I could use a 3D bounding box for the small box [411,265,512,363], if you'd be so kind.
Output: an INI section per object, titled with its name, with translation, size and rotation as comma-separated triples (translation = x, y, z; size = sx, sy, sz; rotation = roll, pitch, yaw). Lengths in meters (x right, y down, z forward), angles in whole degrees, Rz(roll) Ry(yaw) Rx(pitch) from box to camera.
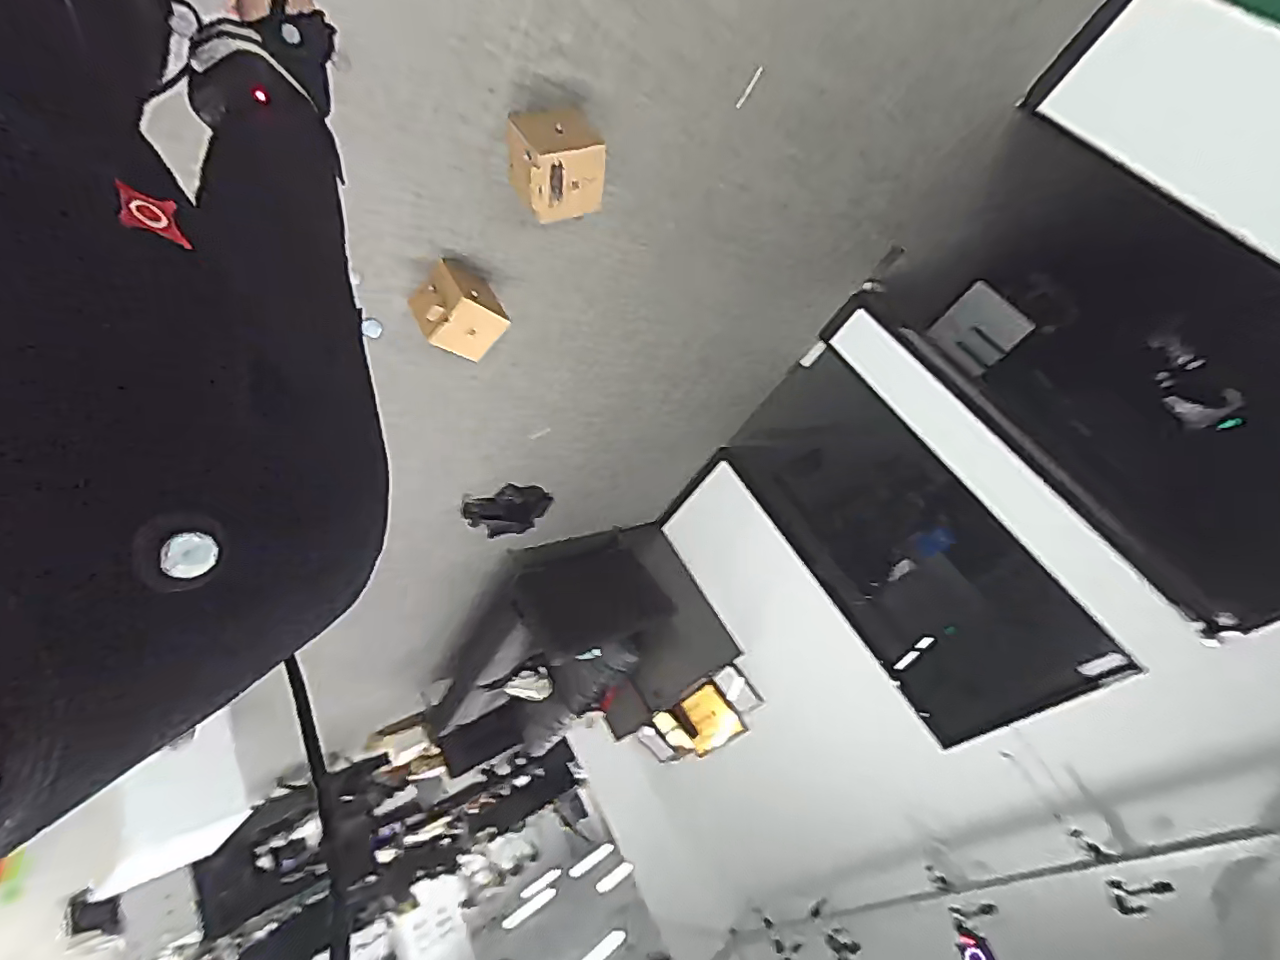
[small box]
translation = -0.498, -0.462, 1.505
size = 0.168, 0.176, 0.179
rotation = -41, 155, 19
